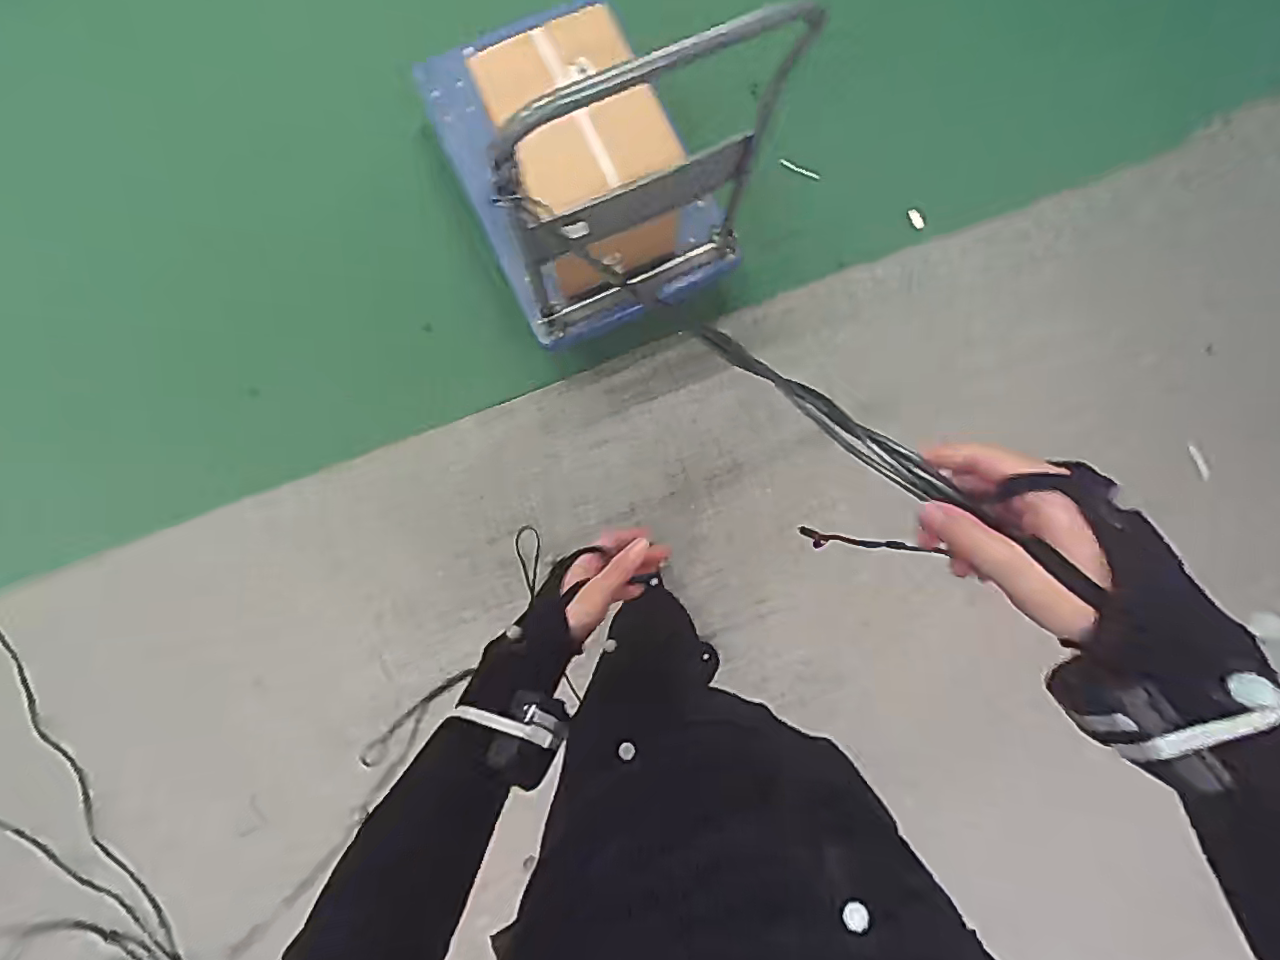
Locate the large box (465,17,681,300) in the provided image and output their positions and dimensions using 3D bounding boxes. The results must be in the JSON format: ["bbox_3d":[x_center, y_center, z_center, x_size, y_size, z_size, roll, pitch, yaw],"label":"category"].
[{"bbox_3d":[-0.138,-0.706,1.239,0.320,0.320,0.408,-25,82,-5],"label":"large box"}]
